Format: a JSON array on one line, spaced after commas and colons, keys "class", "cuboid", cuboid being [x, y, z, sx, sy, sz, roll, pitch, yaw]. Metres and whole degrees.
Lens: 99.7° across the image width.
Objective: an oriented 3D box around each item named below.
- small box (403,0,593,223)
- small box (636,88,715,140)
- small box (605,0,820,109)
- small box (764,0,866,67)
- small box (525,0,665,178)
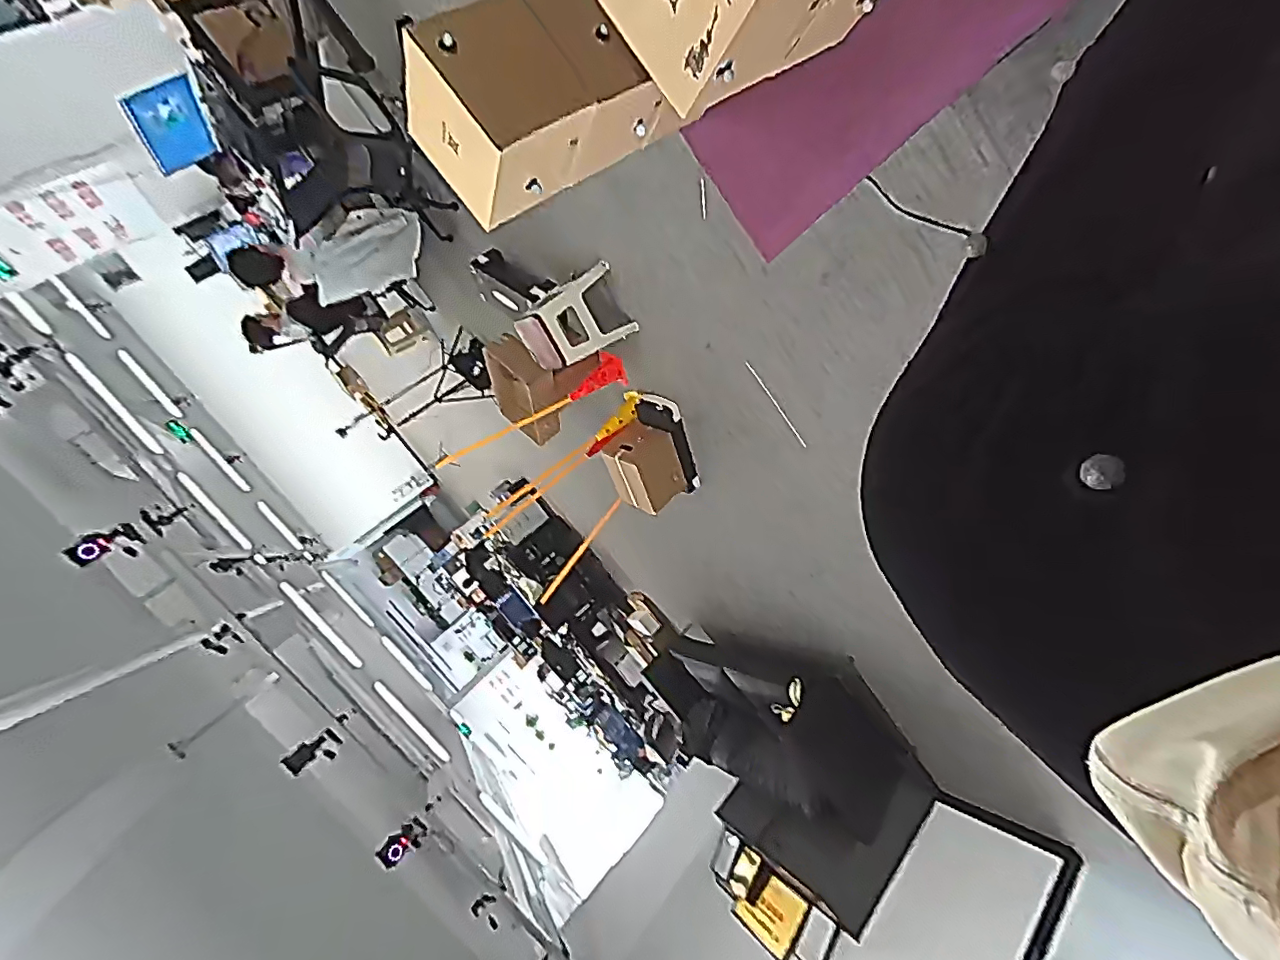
[{"class": "small box", "cuboid": [-0.191, -0.500, 0.734, 0.179, 0.176, 0.168, 51, 158, -6]}, {"class": "small box", "cuboid": [0.034, -0.699, 0.860, 0.179, 0.176, 0.168, 51, 157, -8]}, {"class": "small box", "cuboid": [0.085, -0.553, 0.575, 0.179, 0.176, 0.168, 53, 157, -8]}, {"class": "small box", "cuboid": [0.200, -0.652, 0.639, 0.179, 0.176, 0.168, 52, 157, -9]}, {"class": "small box", "cuboid": [-0.079, -0.600, 0.796, 0.179, 0.176, 0.168, 51, 158, -8]}]
